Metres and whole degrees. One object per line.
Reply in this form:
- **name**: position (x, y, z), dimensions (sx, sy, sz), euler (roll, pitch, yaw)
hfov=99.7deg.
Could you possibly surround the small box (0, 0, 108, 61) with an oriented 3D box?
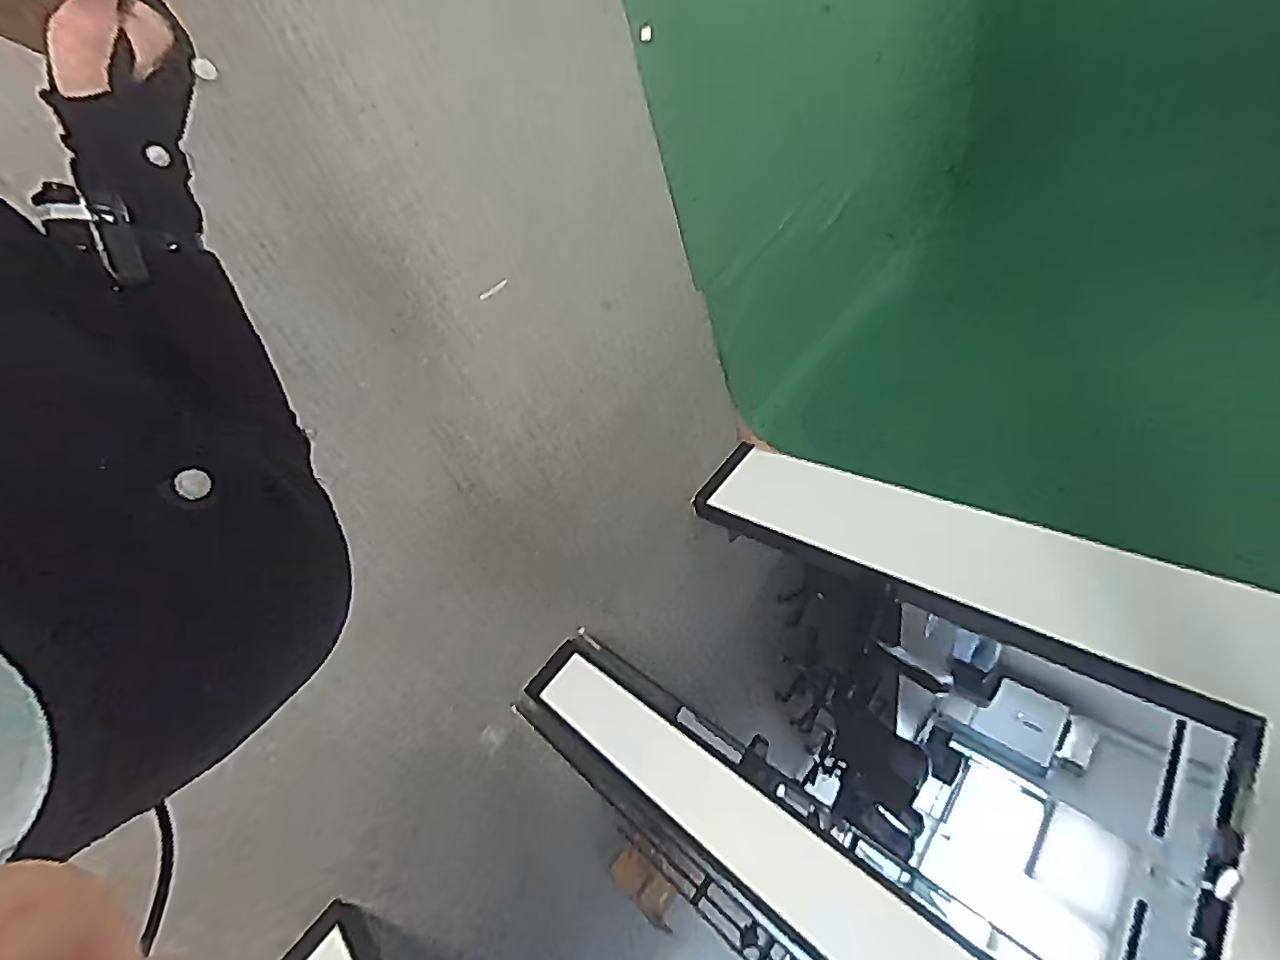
- **small box**: position (-0.390, -0.374, 0.279), dimensions (0.168, 0.176, 0.179), euler (10, 94, -42)
